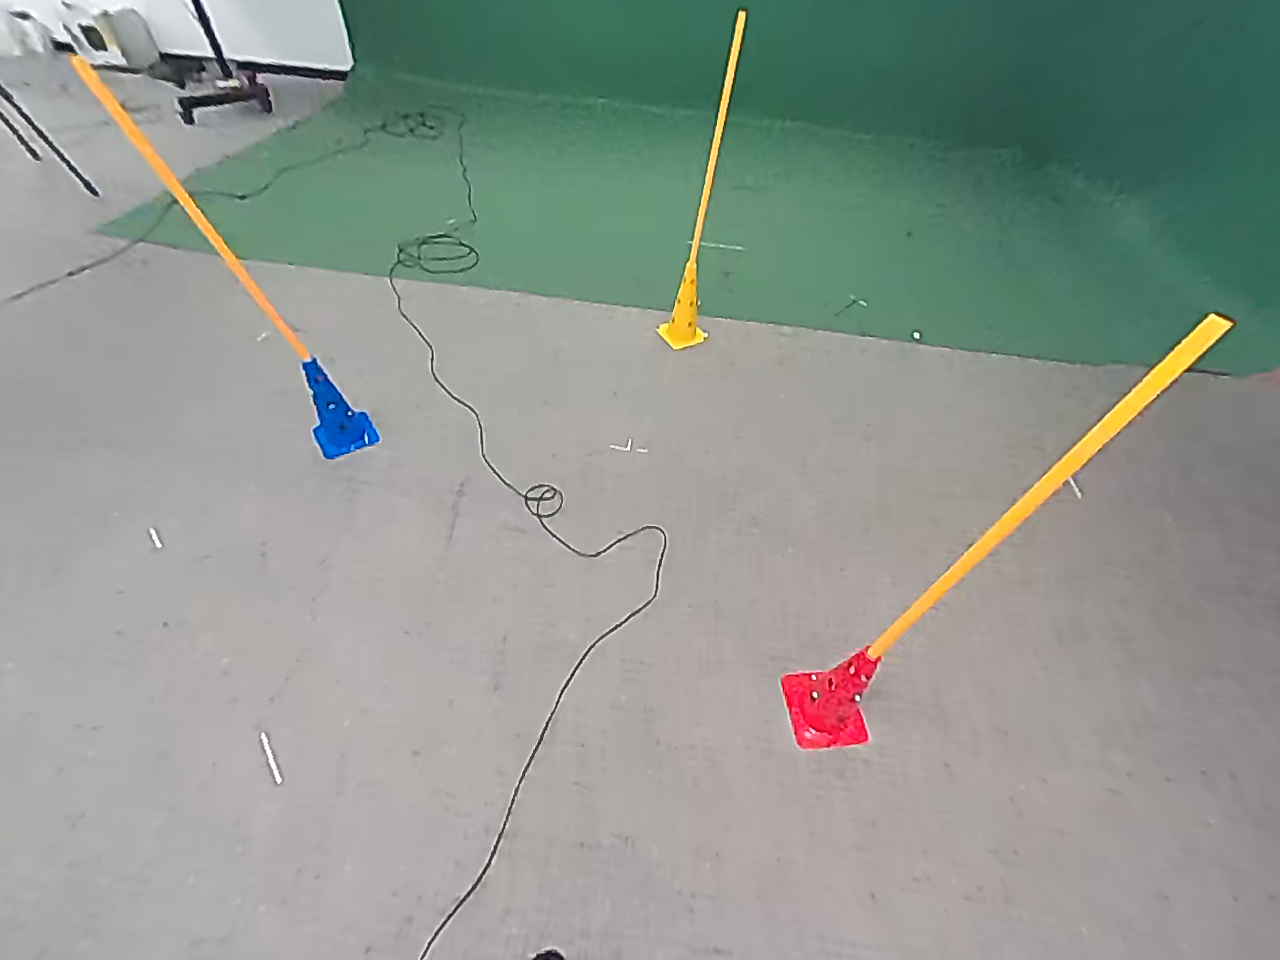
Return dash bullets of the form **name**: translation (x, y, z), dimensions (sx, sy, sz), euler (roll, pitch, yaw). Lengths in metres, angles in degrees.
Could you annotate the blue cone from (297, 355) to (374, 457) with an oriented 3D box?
- **blue cone**: translation (-1.102, -0.273, 1.897), dimensions (0.193, 0.380, 0.192), euler (-29, 58, -24)
